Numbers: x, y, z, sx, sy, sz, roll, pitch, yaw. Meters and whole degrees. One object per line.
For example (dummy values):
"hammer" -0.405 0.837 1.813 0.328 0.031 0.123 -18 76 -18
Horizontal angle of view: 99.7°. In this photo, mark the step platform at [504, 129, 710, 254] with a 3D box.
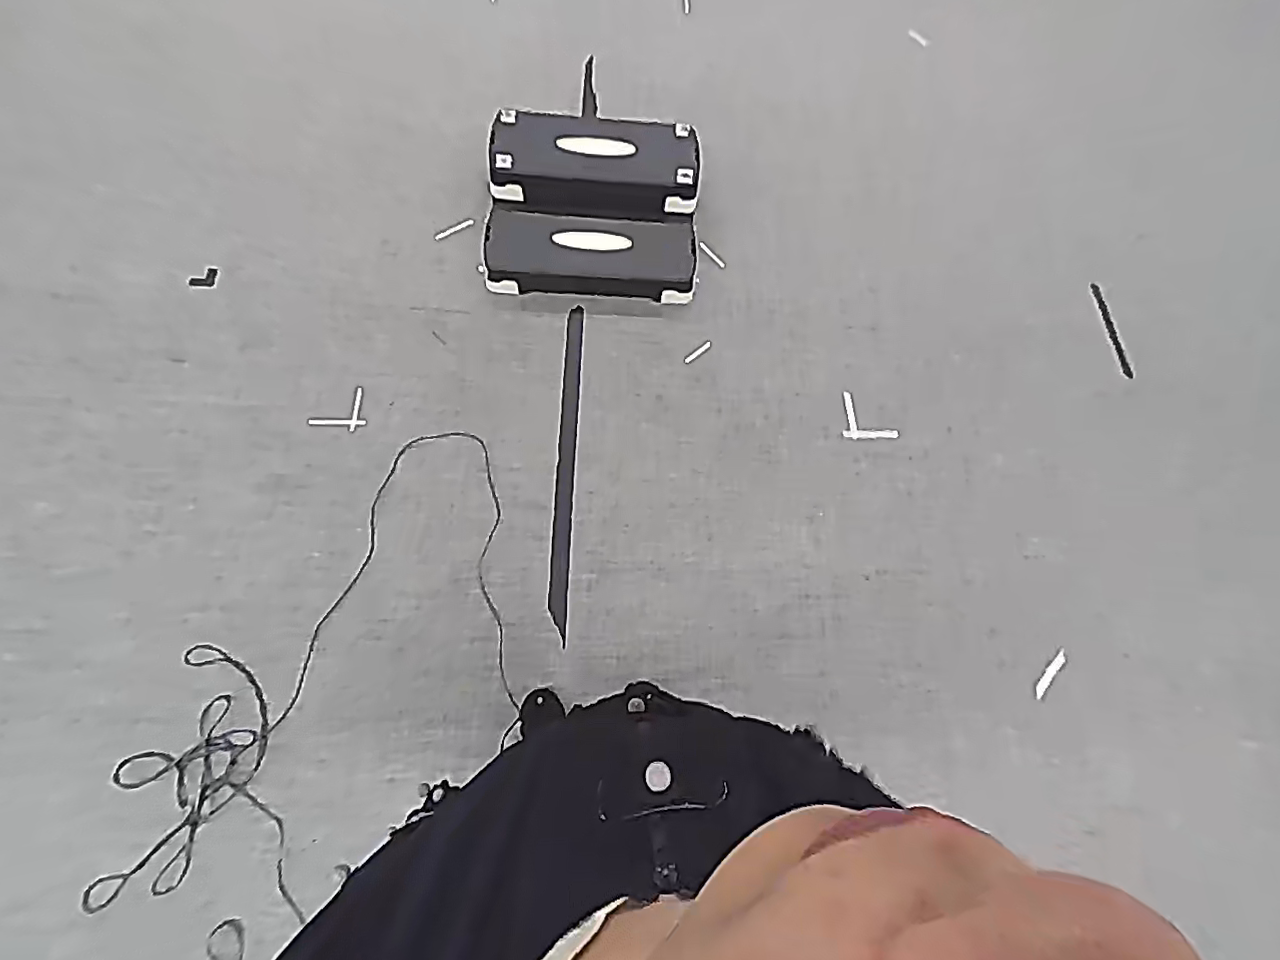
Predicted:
"step platform" -0.107 -0.973 1.826 0.684 0.204 0.286 6 68 -3
